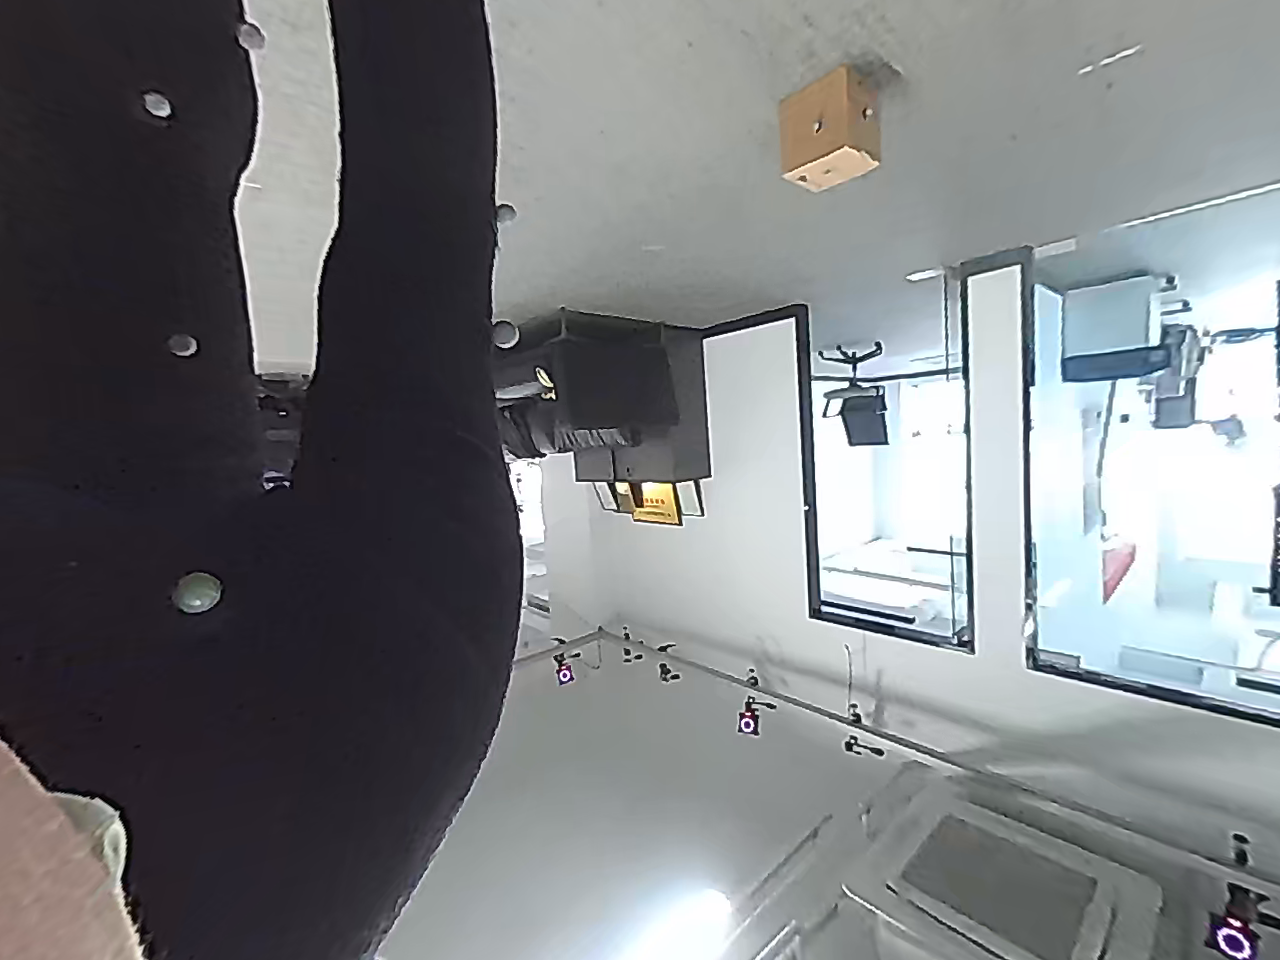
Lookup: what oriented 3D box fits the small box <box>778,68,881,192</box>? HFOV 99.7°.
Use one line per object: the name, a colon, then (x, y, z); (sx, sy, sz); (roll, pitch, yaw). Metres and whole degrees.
small box: (0.444, -0.817, 1.274); (0.168, 0.176, 0.179); (-8, -174, -42)
